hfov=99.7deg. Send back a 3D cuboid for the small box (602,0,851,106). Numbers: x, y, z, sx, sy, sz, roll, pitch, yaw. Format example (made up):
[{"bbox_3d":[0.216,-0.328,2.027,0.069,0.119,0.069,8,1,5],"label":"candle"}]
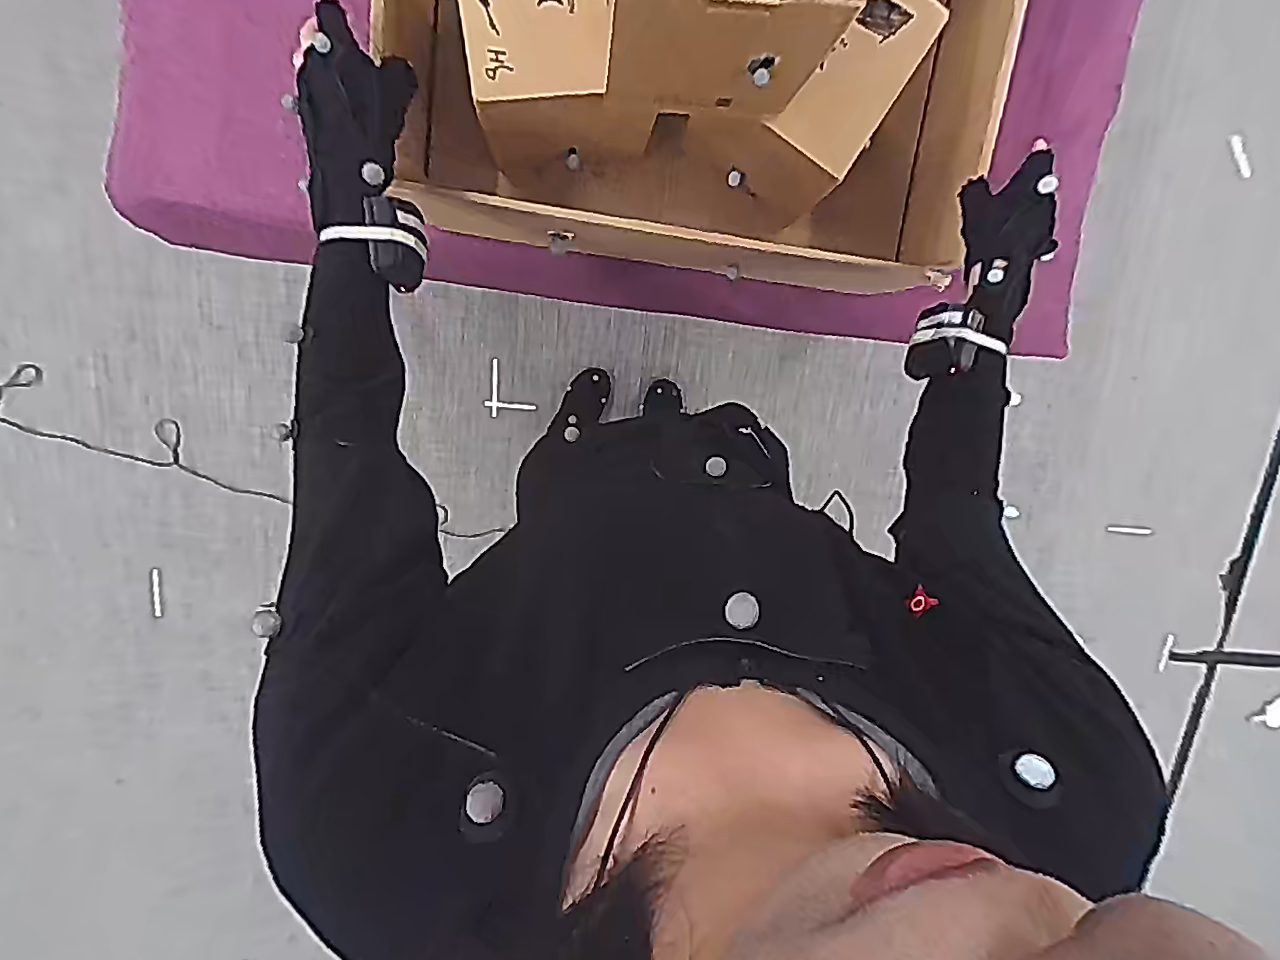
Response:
[{"bbox_3d":[0.060,-0.408,0.395,0.168,0.176,0.179,-1,100,-7],"label":"small box"}]
